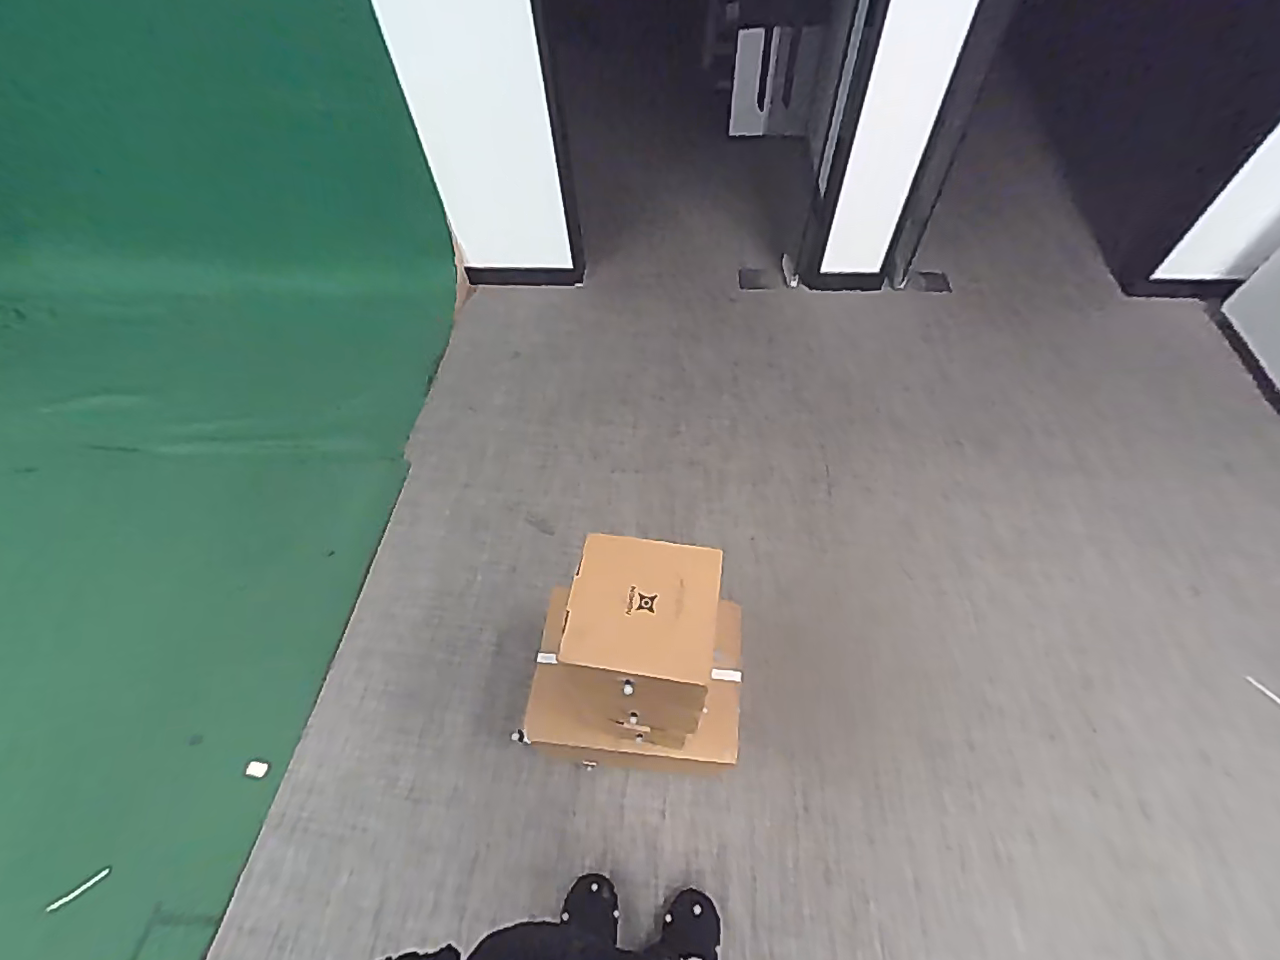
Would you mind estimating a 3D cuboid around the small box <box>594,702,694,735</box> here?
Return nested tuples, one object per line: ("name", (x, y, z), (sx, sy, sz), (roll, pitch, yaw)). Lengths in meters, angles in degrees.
("small box", (0.023, 0.352, 0.982), (0.168, 0.176, 0.179), (6, 59, 8))

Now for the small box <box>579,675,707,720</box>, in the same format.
("small box", (0.019, 0.266, 0.841), (0.179, 0.176, 0.168), (5, 58, 8))

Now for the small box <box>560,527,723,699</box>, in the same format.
("small box", (0.010, 0.178, 0.706), (0.179, 0.176, 0.168), (6, 59, 7))
